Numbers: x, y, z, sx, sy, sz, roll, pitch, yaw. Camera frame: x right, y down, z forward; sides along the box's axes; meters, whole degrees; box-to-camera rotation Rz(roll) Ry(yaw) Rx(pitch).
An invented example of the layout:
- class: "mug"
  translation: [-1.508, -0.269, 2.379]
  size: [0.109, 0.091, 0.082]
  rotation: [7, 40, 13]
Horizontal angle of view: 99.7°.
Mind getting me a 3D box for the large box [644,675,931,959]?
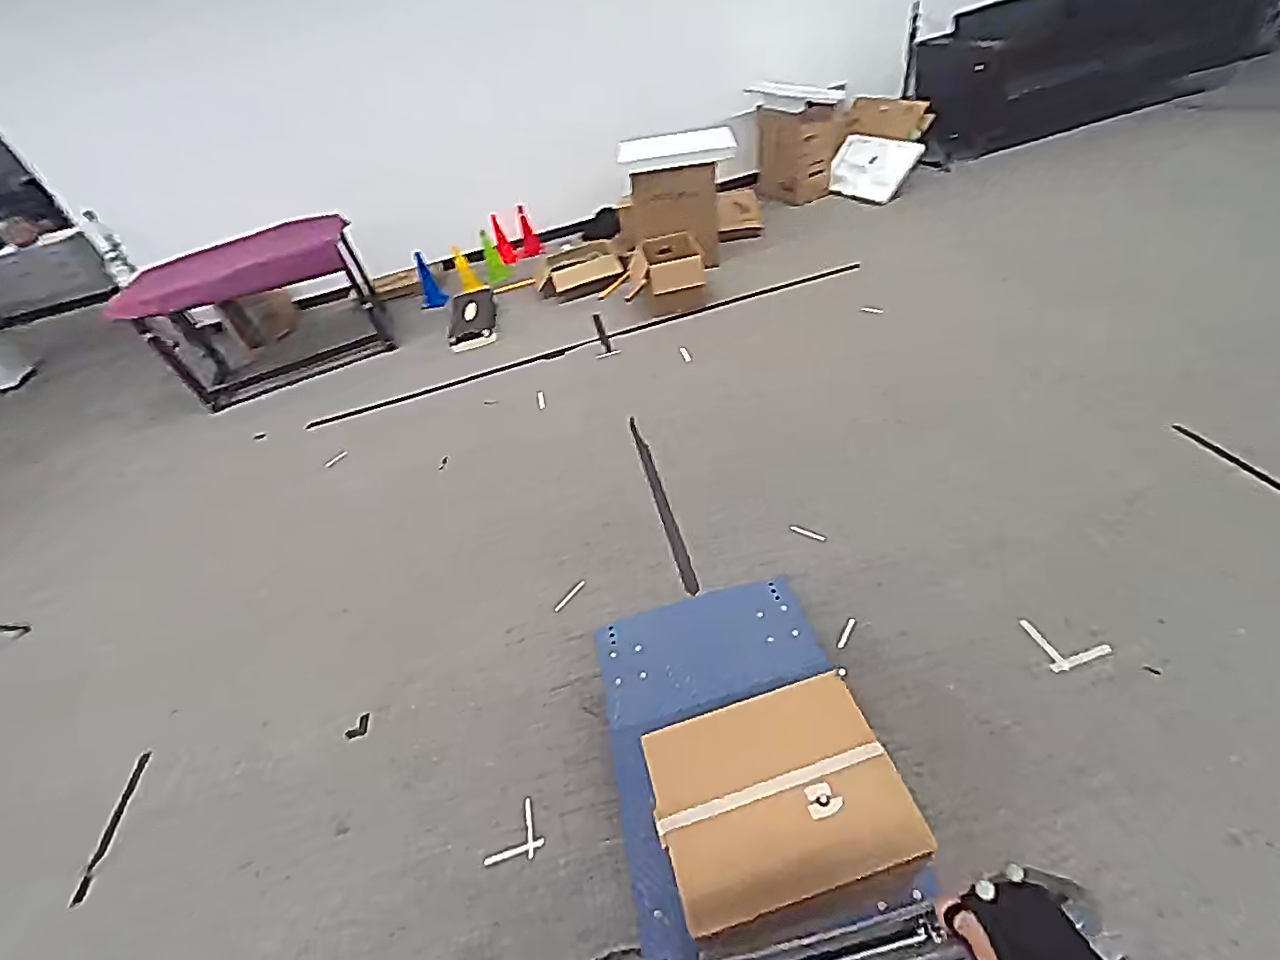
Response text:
- class: "large box"
  translation: [0.257, 0.647, 1.037]
  size: [0.408, 0.320, 0.320]
  rotation: [-17, 43, -5]
